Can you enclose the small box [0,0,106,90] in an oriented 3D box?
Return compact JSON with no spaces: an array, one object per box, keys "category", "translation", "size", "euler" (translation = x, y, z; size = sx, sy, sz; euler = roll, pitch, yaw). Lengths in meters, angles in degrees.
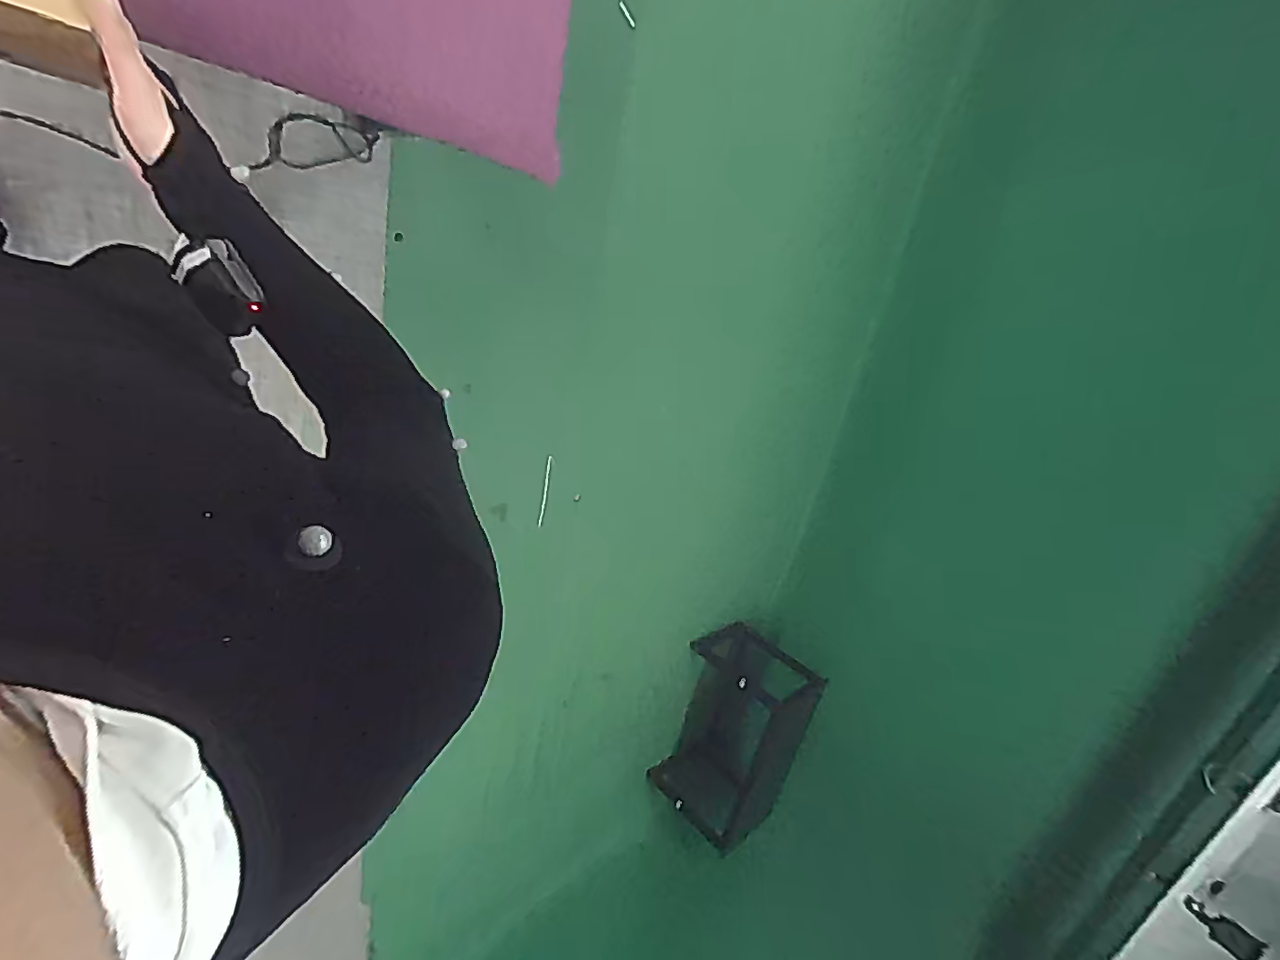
[{"category":"small box","translation":[-0.477,-0.405,0.359],"size":[0.168,0.176,0.179],"euler":[-3,109,-42]}]
